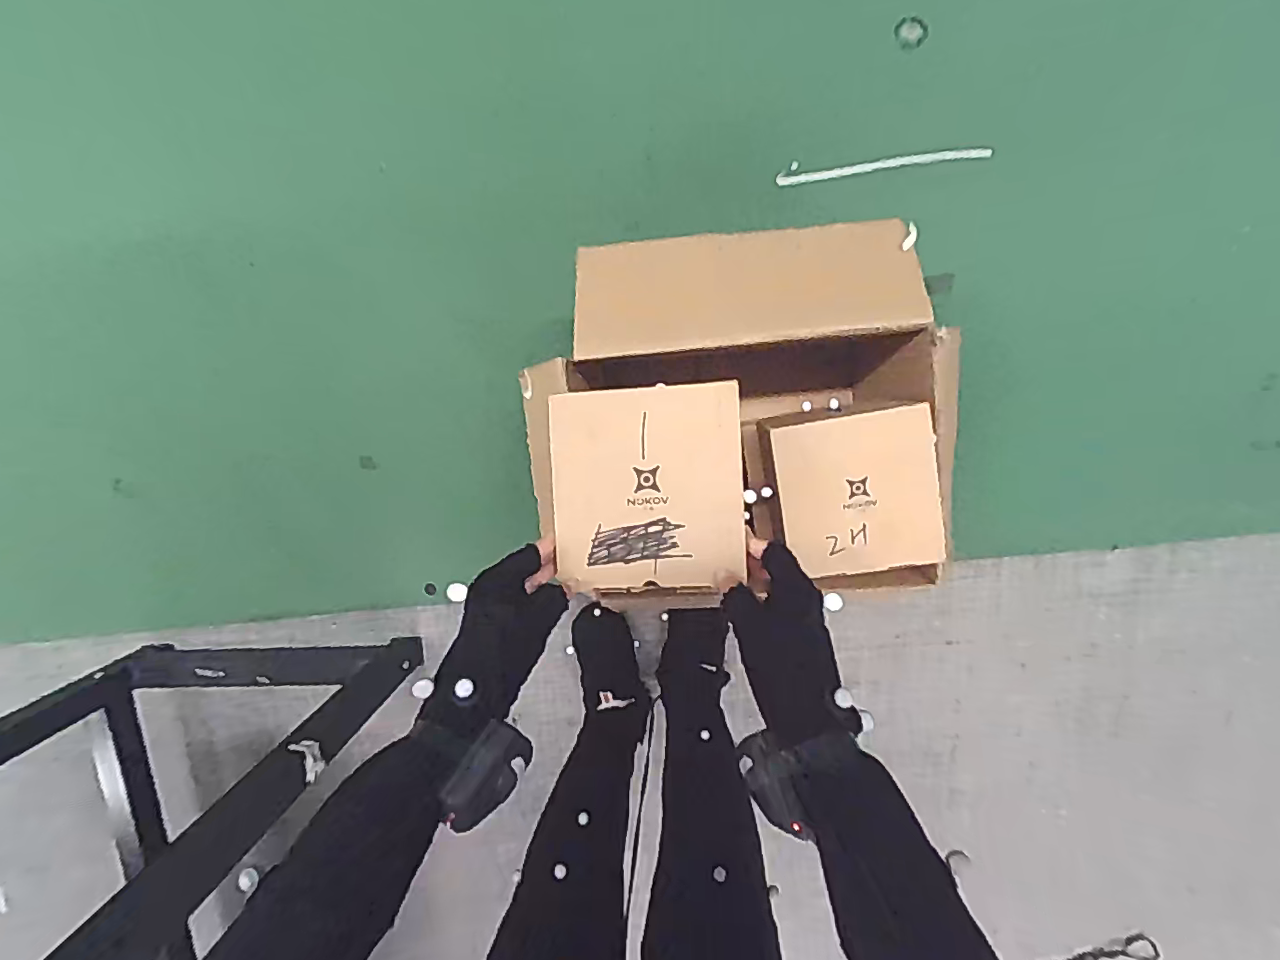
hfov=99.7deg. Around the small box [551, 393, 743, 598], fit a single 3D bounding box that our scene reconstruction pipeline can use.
[{"bbox_3d":[0.016,0.011,0.545,0.168,0.176,0.179,-2,92,8],"label":"small box"}]
